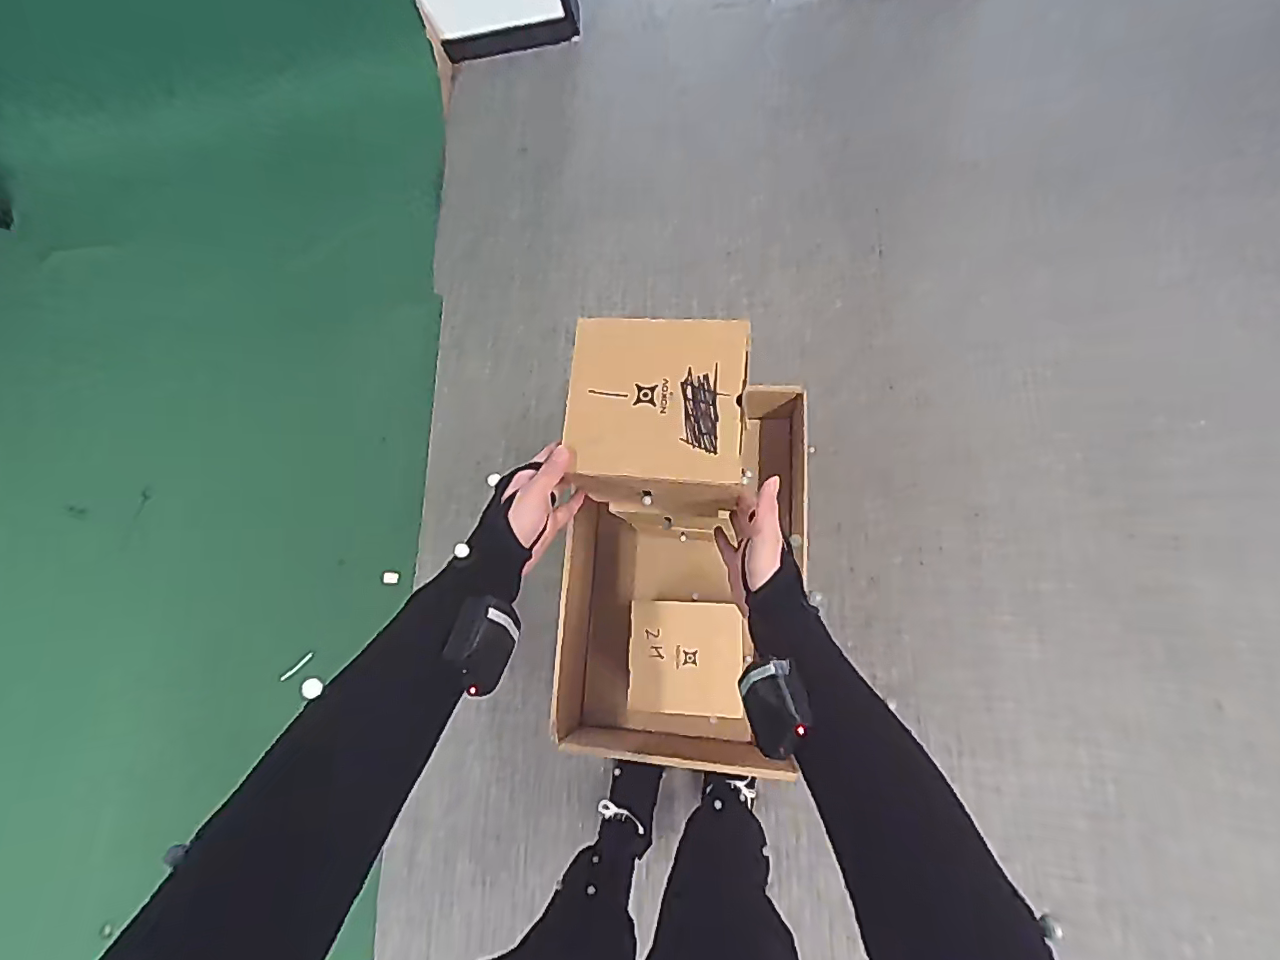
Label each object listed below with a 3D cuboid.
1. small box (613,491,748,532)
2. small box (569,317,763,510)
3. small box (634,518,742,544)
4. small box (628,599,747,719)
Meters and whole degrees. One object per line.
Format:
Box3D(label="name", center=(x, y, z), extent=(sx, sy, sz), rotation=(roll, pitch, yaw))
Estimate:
Box3D(label="small box", center=(0.071, -0.017, 0.802), extent=(0.179, 0.176, 0.168), rotation=(4, 80, 11))
Box3D(label="small box", center=(0.035, -0.064, 0.604), extent=(0.179, 0.176, 0.168), rotation=(5, 79, 9))
Box3D(label="small box", center=(0.097, 0.019, 0.960), extent=(0.179, 0.176, 0.168), rotation=(5, 79, 10))
Box3D(label="small box", center=(0.085, 0.286, 0.898), extent=(0.179, 0.176, 0.168), rotation=(1, 77, 10))
